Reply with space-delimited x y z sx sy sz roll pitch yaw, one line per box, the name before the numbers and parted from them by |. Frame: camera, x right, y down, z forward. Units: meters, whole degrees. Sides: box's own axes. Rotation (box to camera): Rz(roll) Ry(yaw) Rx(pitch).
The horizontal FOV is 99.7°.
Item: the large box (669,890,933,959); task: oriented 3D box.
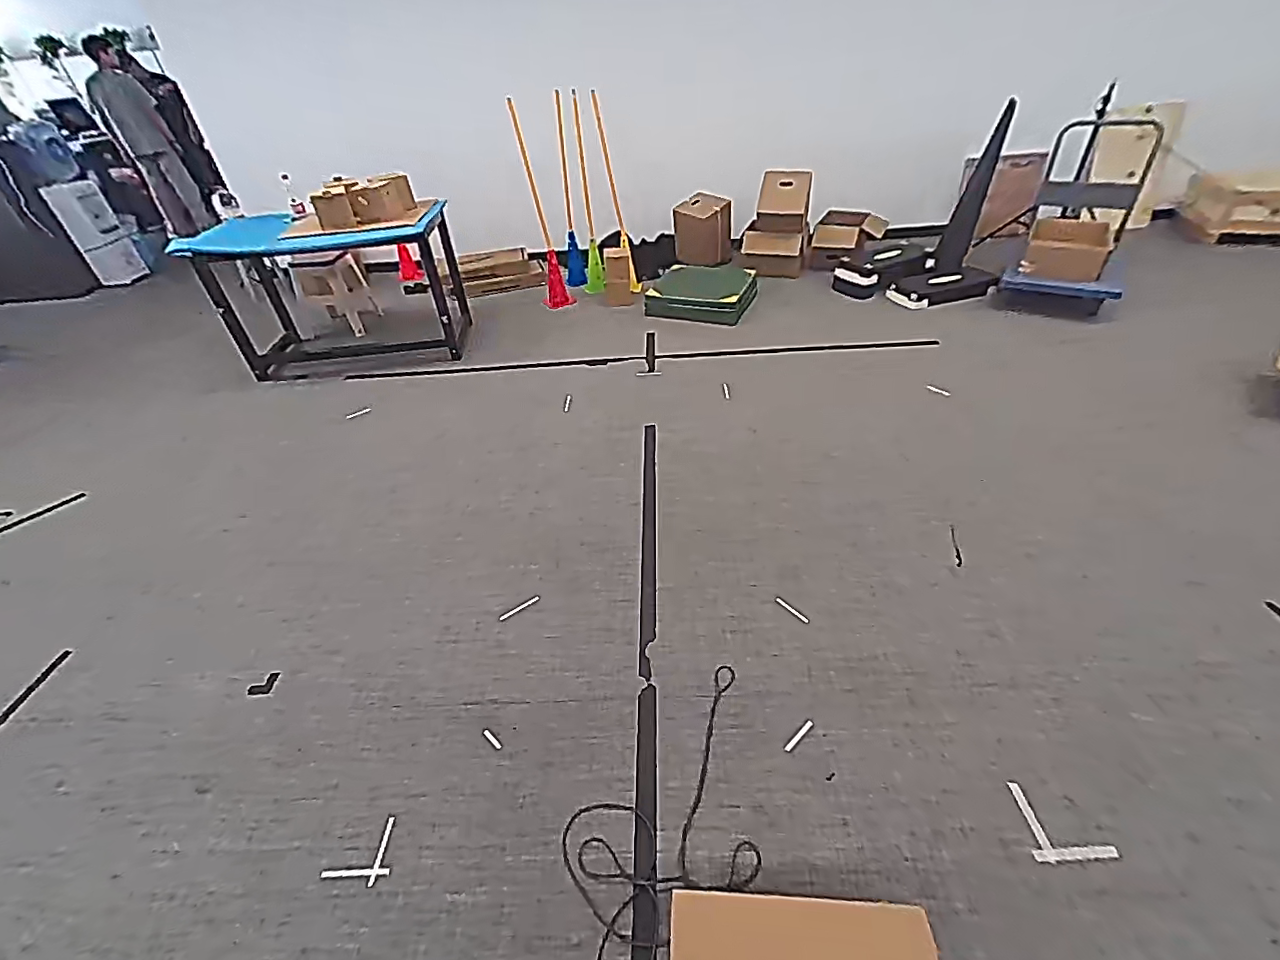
large box | 0.249 0.897 0.860 0.408 0.320 0.320 0 39 5
